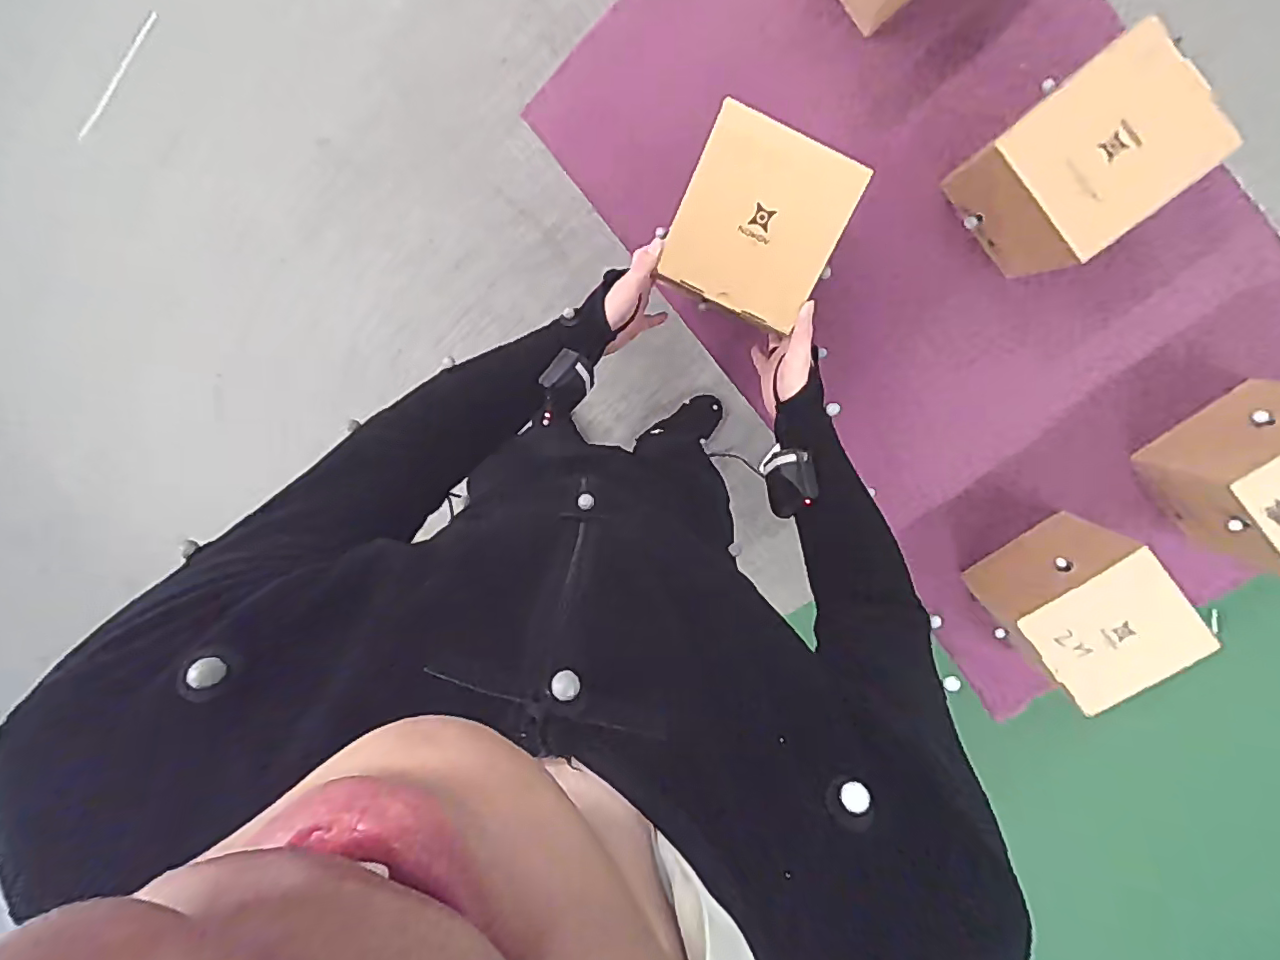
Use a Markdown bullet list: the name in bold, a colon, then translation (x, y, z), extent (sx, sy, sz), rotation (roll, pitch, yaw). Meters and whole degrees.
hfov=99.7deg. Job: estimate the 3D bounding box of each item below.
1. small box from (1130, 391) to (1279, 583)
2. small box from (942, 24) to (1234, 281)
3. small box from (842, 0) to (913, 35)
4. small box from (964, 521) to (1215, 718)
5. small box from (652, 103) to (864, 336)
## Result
- **small box**: translation (0.804, 0.002, 0.687), extent (0.179, 0.176, 0.168), rotation (-40, 94, 14)
- **small box**: translation (0.510, -0.366, 0.648), extent (0.179, 0.176, 0.168), rotation (-38, 94, 15)
- **small box**: translation (0.301, -0.666, 0.605), extent (0.179, 0.176, 0.168), rotation (-37, 96, 15)
- **small box**: translation (0.603, 0.181, 0.754), extent (0.179, 0.176, 0.168), rotation (-38, 94, 13)
- **small box**: translation (0.121, -0.287, 0.634), extent (0.168, 0.176, 0.179), rotation (23, 107, -4)
